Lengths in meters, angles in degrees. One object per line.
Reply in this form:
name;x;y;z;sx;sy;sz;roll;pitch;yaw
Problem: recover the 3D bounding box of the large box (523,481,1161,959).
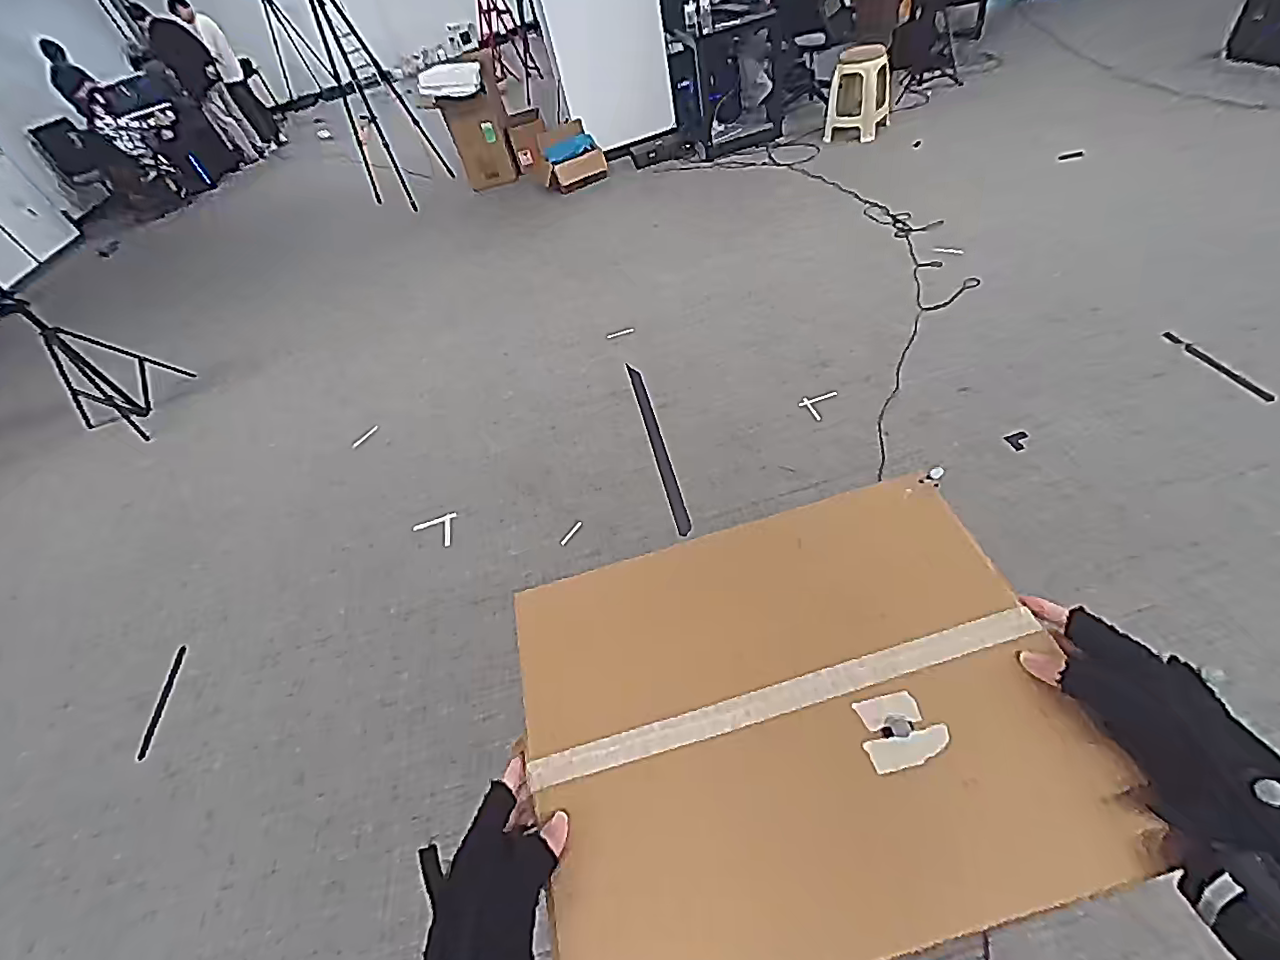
large box;0.136;0.262;0.550;0.408;0.320;0.320;-17;53;-1
